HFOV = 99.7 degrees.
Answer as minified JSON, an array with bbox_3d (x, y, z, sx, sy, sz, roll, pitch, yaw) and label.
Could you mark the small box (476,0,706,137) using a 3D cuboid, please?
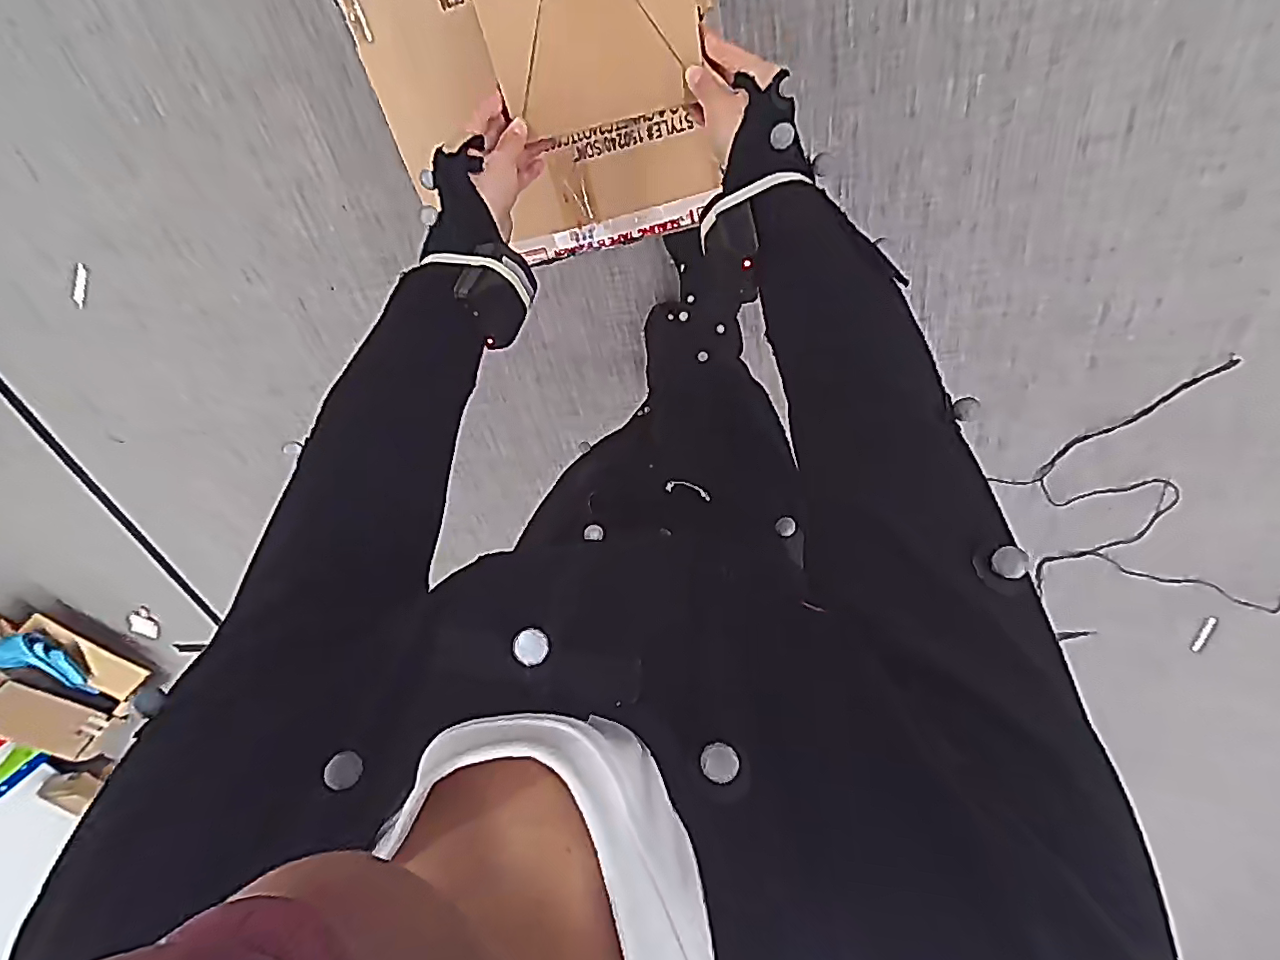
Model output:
[{"bbox_3d":[-0.038,-0.417,0.457,0.168,0.176,0.179,-7,131,11],"label":"small box"}]
